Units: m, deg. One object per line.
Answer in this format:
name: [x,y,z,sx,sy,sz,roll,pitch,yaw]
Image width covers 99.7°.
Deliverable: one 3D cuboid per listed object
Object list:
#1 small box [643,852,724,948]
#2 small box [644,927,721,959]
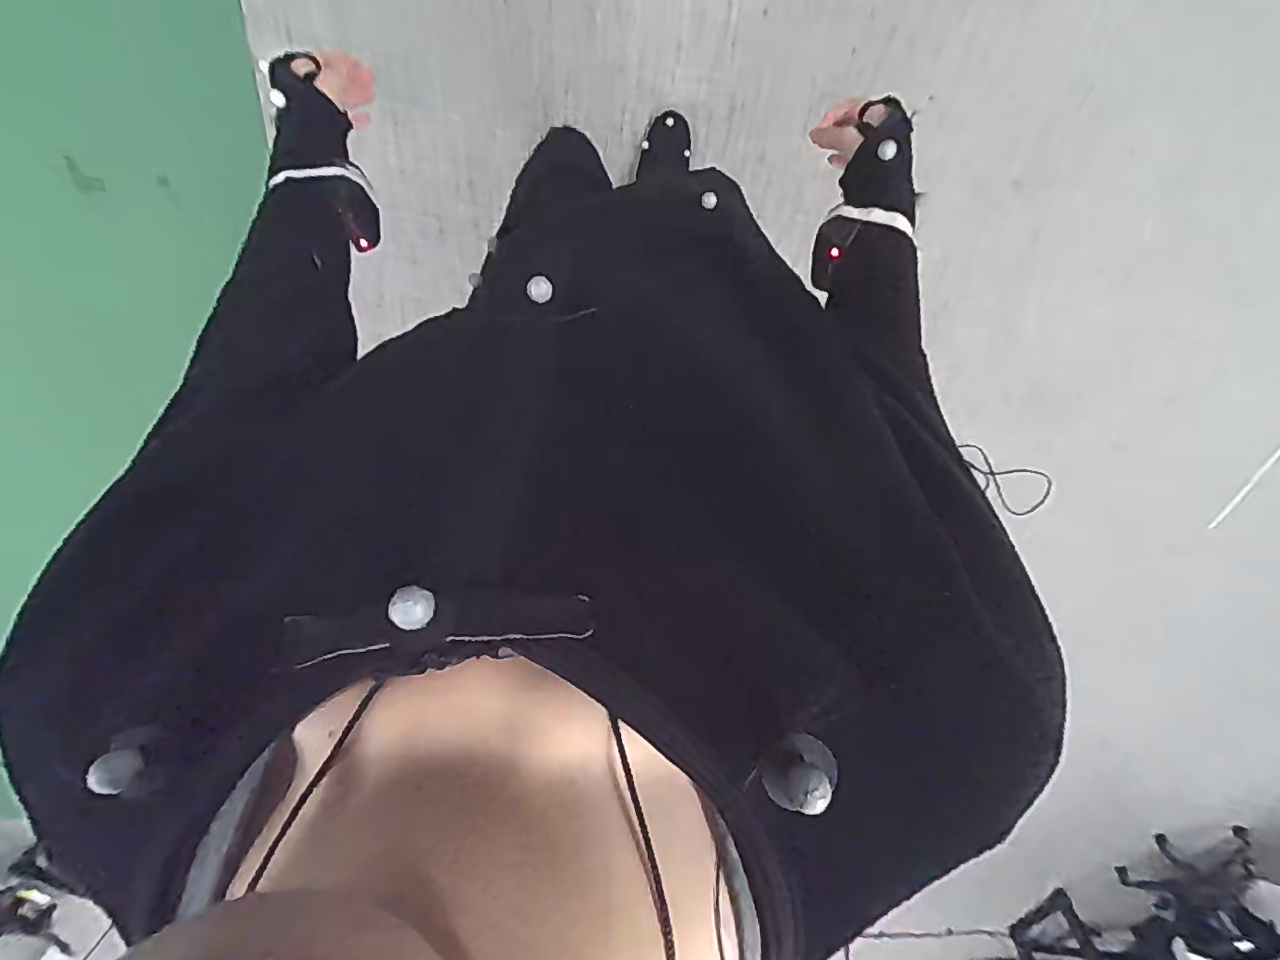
small box: [0.109,1.103,1.411,0.179,0.176,0.168,10,123,-3]
small box: [0.096,1.190,1.274,0.168,0.176,0.179,9,124,-2]
